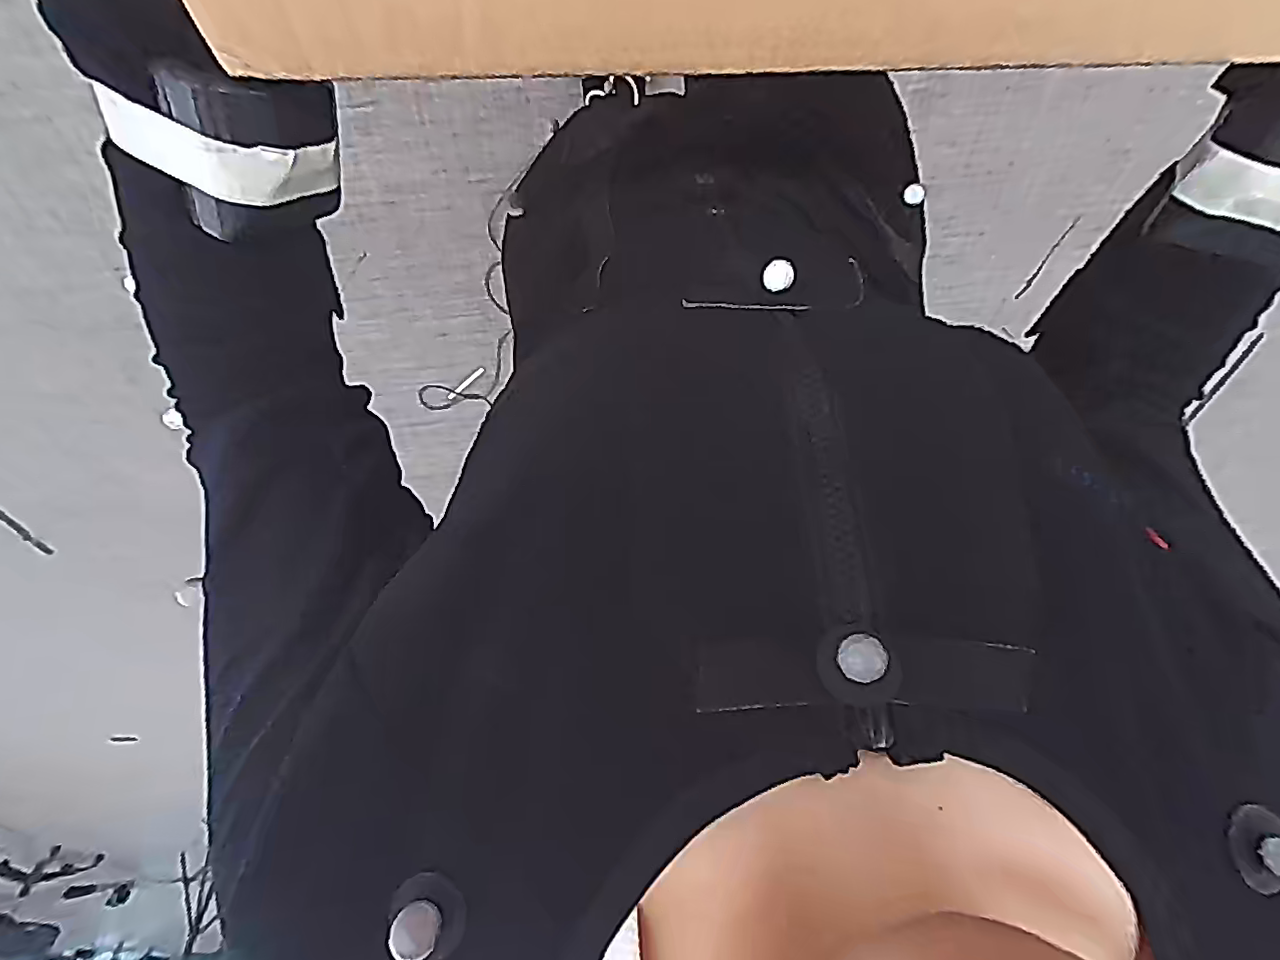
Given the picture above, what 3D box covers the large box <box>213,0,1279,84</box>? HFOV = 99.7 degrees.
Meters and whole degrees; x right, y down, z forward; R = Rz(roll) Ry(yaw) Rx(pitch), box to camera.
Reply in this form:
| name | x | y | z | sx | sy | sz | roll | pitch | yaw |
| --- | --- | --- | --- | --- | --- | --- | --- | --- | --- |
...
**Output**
| name | x | y | z | sx | sy | sz | roll | pitch | yaw |
| --- | --- | --- | --- | --- | --- | --- | --- | --- | --- |
| large box | 0.056 | -0.357 | 0.156 | 0.408 | 0.320 | 0.320 | -2 | 143 | -2 |
